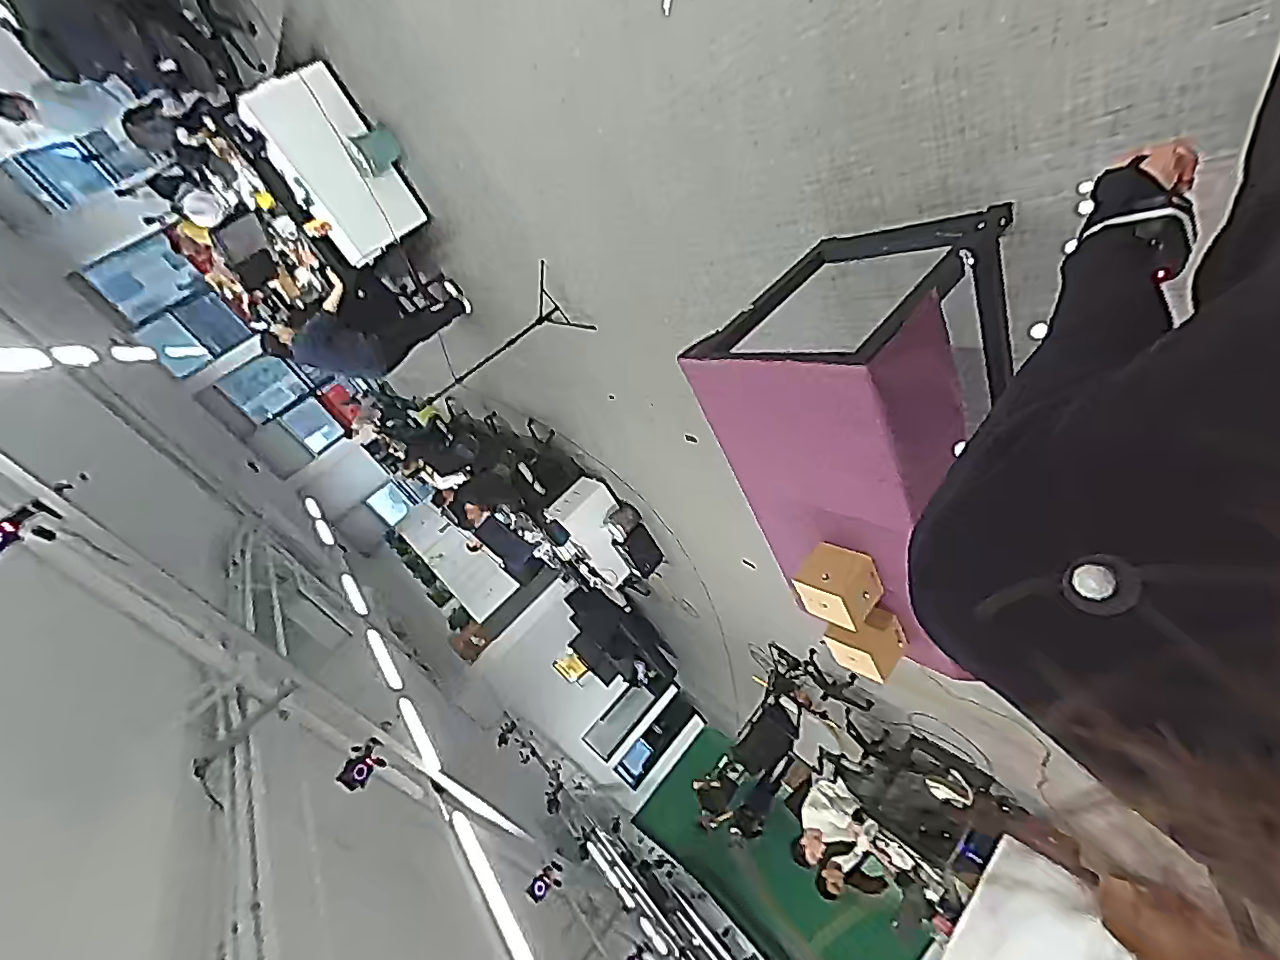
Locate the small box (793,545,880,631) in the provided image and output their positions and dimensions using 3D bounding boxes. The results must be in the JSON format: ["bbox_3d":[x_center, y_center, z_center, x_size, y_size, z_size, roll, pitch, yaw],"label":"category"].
[{"bbox_3d":[0.609,0.322,1.653,0.179,0.176,0.168,16,144,53],"label":"small box"}]

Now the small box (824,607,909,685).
[{"bbox_3d":[0.745,0.527,1.775,0.179,0.176,0.168,14,144,55],"label":"small box"}]
